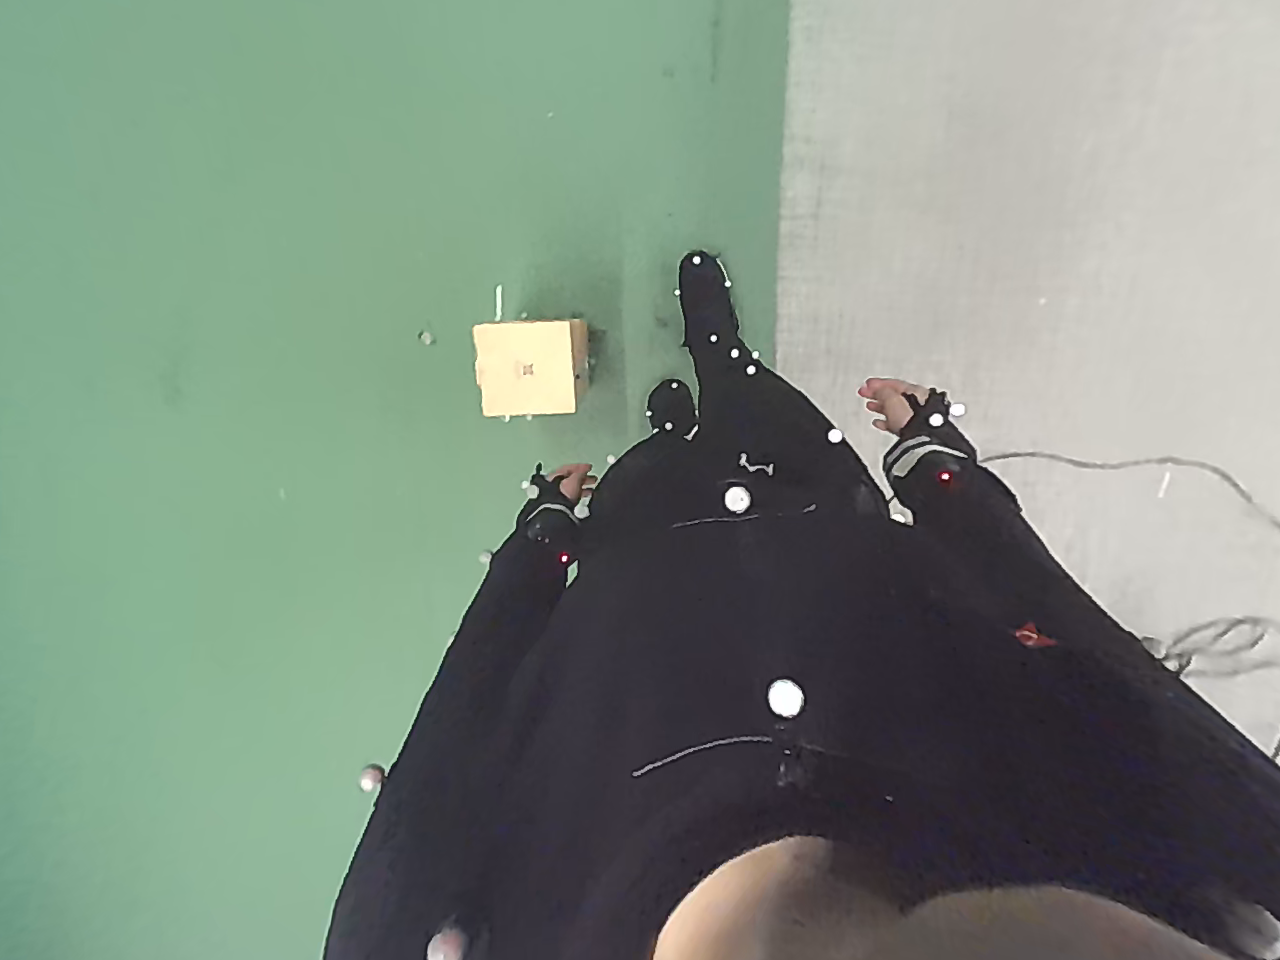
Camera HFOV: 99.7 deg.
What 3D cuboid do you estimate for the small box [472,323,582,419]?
[{"bbox_3d":[-0.209,-0.217,1.056,0.179,0.176,0.168,-3,106,2],"label":"small box"}]

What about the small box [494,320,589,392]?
[{"bbox_3d":[-0.213,-0.269,1.210,0.179,0.176,0.168,-2,106,0],"label":"small box"}]
